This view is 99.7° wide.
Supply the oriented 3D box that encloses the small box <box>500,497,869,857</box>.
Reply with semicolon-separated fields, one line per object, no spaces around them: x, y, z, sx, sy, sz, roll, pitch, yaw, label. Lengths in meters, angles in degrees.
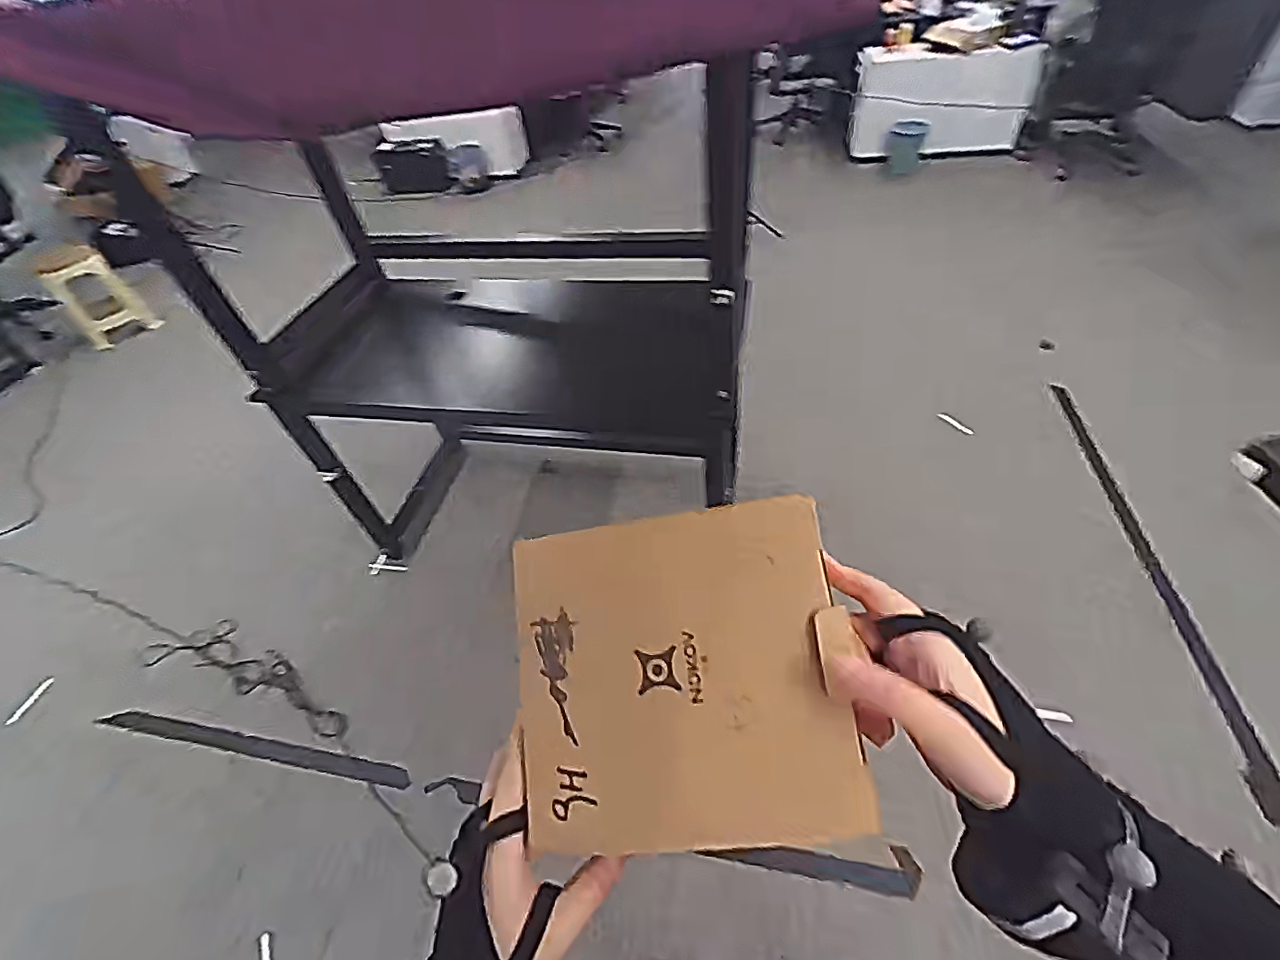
0.026;0.117;0.354;0.179;0.176;0.168;-9;73;9;small box
